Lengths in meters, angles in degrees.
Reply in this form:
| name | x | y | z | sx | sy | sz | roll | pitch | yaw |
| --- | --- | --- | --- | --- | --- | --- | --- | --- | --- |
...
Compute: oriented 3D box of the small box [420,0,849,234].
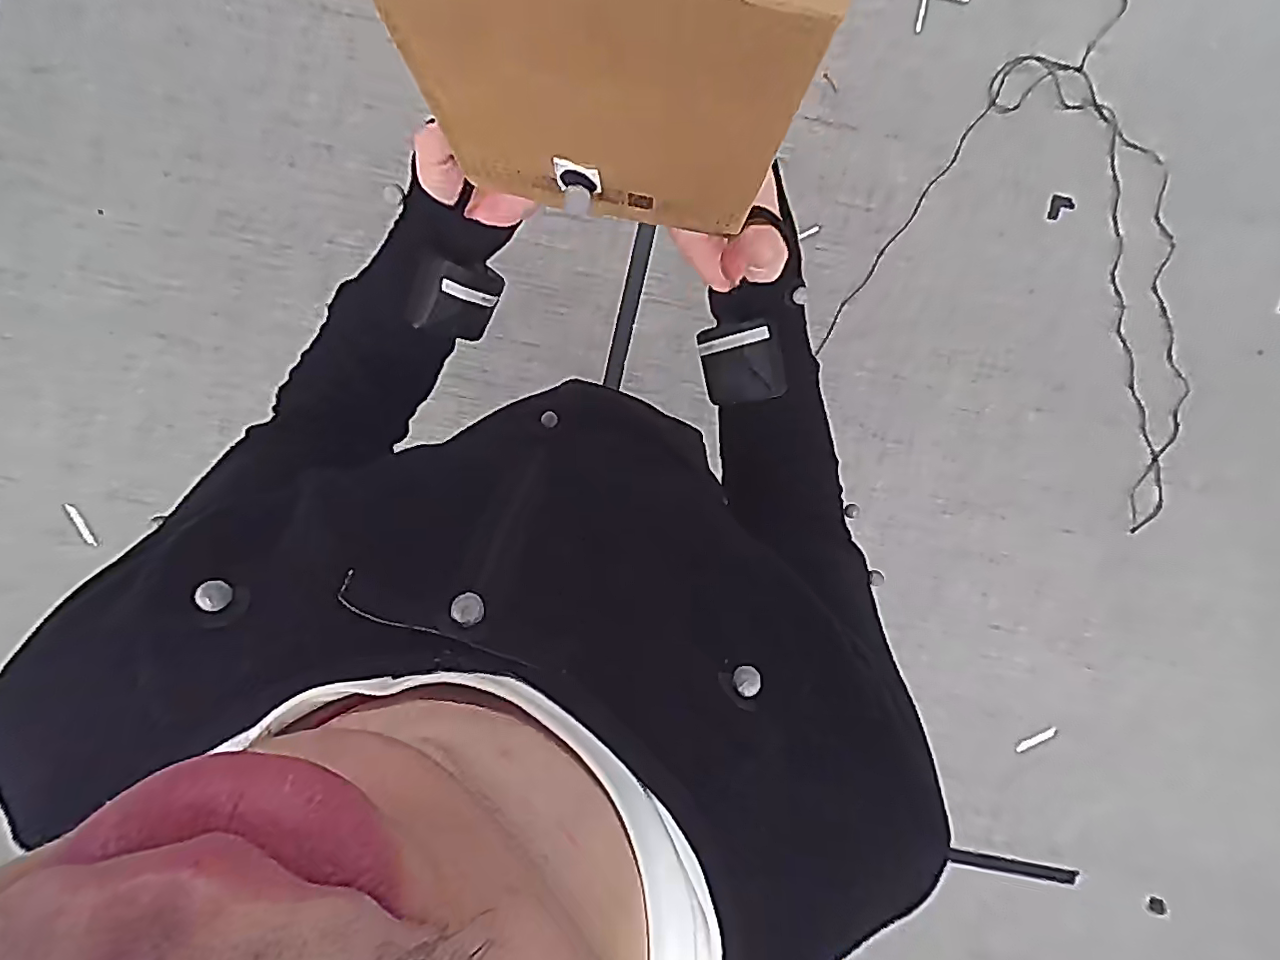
| name | x | y | z | sx | sy | sz | roll | pitch | yaw |
| --- | --- | --- | --- | --- | --- | --- | --- | --- | --- |
| small box | 0.001 | -0.250 | 0.257 | 0.168 | 0.176 | 0.179 | 10 | 91 | -2 |
